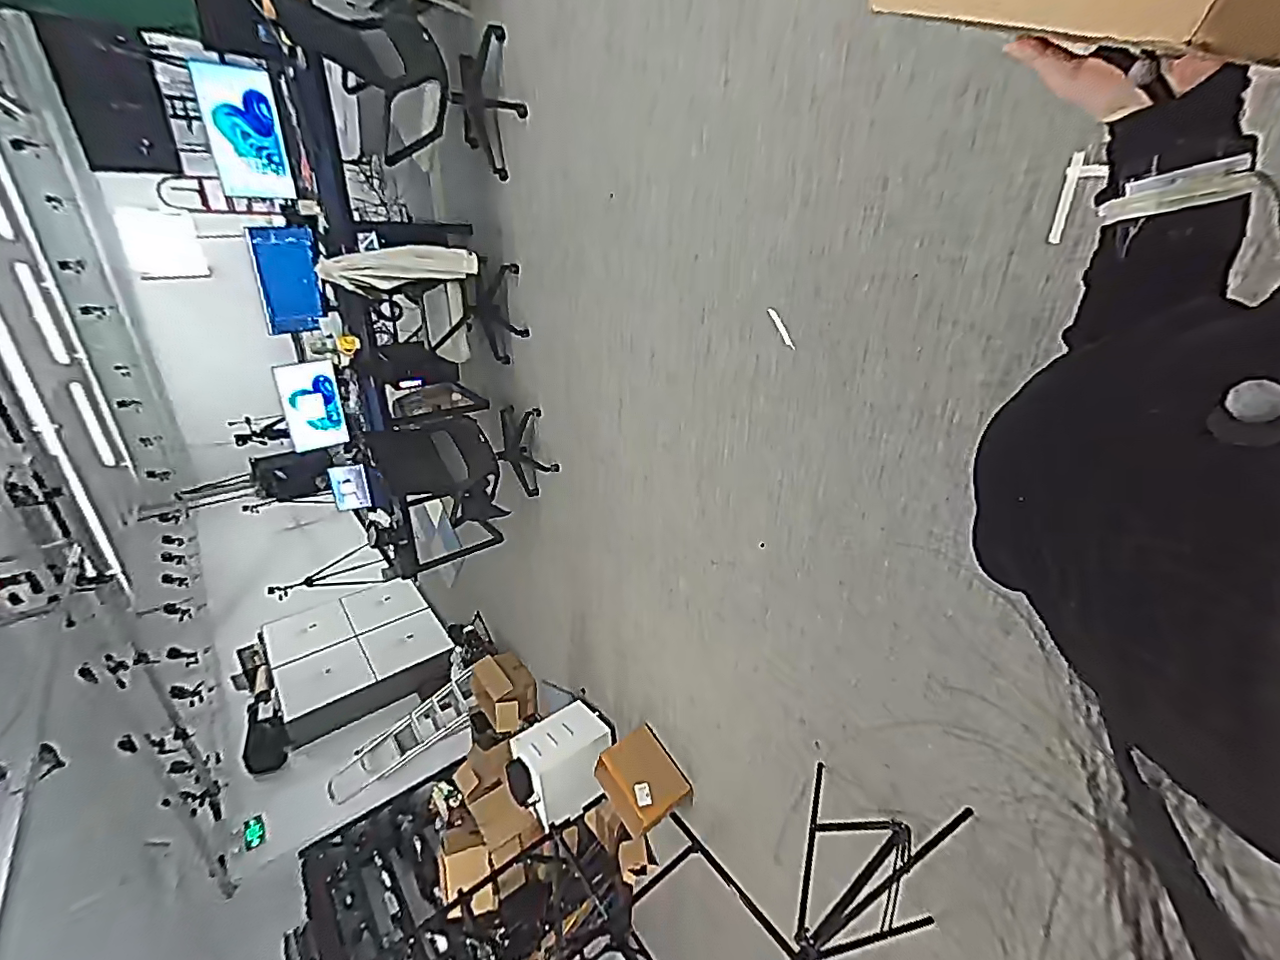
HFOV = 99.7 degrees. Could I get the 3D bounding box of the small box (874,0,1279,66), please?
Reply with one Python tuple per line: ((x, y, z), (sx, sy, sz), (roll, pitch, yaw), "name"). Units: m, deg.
((0.259, -0.307, 0.252), (0.179, 0.176, 0.168), (51, 147, 39), "small box")
